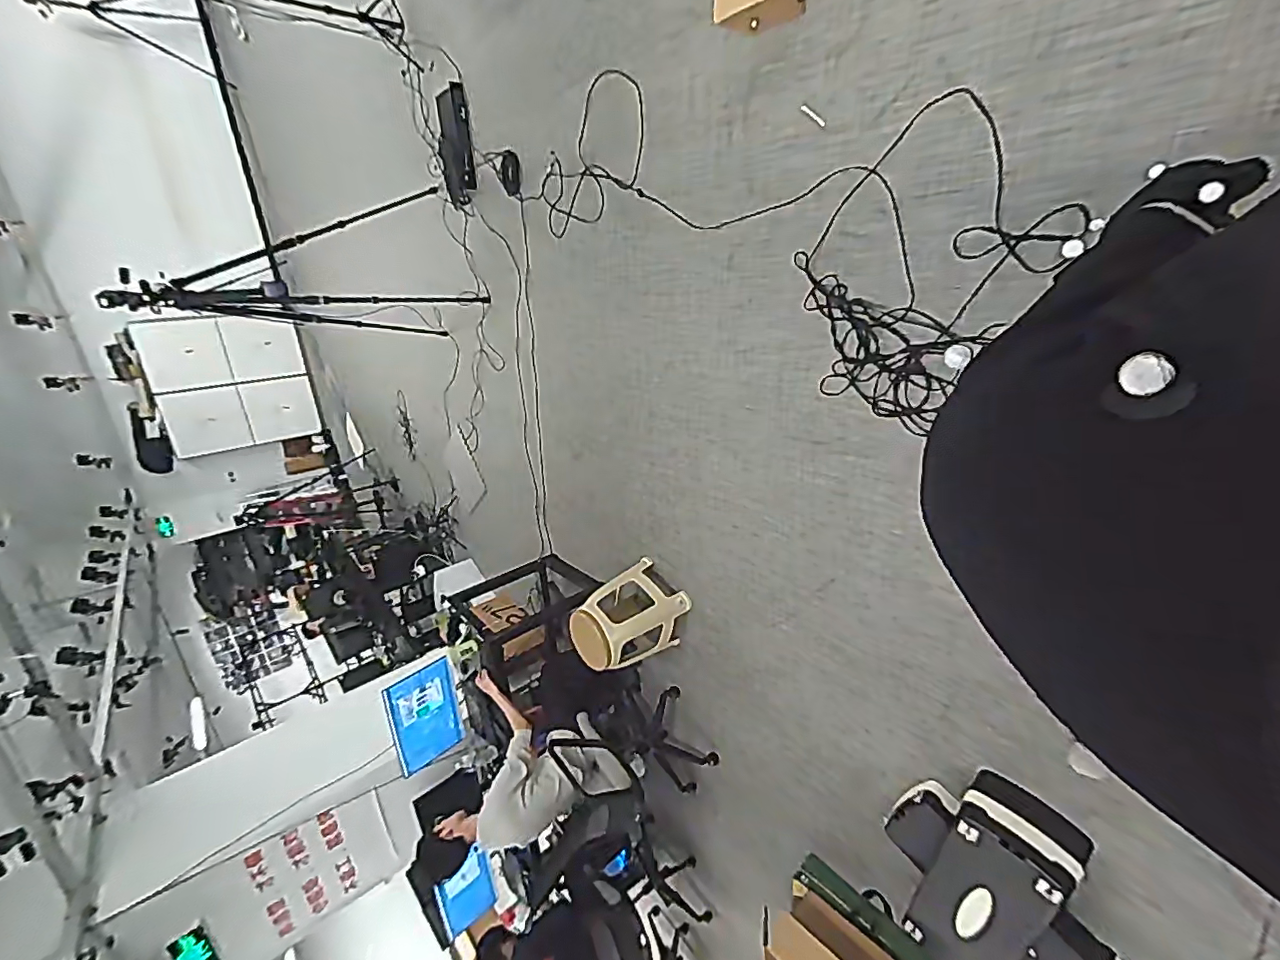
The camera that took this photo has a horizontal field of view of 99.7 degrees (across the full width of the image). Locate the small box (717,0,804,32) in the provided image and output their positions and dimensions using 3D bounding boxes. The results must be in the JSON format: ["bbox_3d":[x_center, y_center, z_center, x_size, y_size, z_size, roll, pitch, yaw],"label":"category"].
[{"bbox_3d":[0.318,-1.306,1.403,0.179,0.176,0.168,21,122,47],"label":"small box"}]
